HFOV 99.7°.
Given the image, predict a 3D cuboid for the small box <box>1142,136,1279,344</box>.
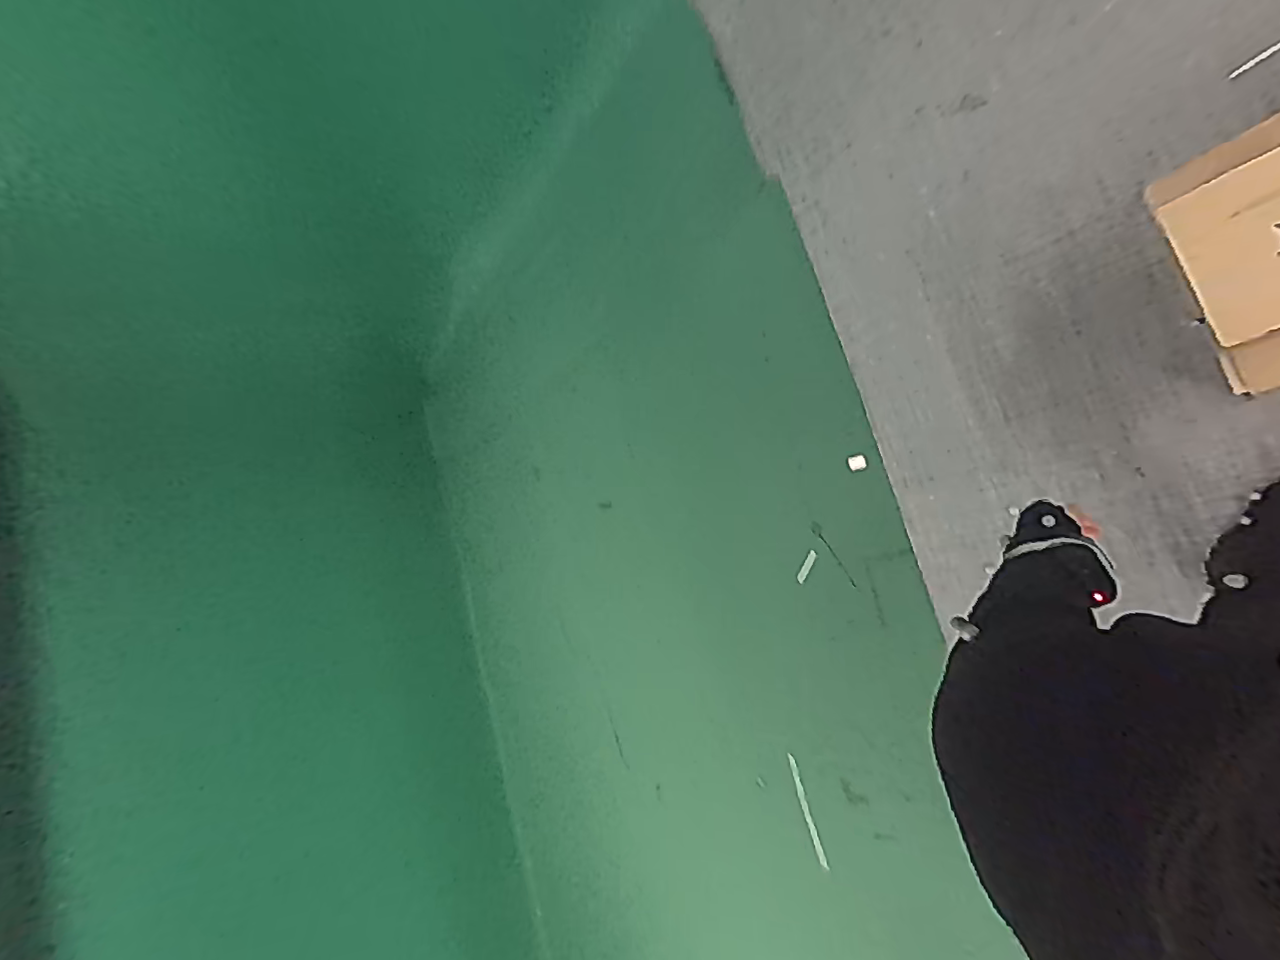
[{"bbox_3d":[0.706,-0.266,0.604,0.168,0.176,0.179,-24,80,45],"label":"small box"}]
